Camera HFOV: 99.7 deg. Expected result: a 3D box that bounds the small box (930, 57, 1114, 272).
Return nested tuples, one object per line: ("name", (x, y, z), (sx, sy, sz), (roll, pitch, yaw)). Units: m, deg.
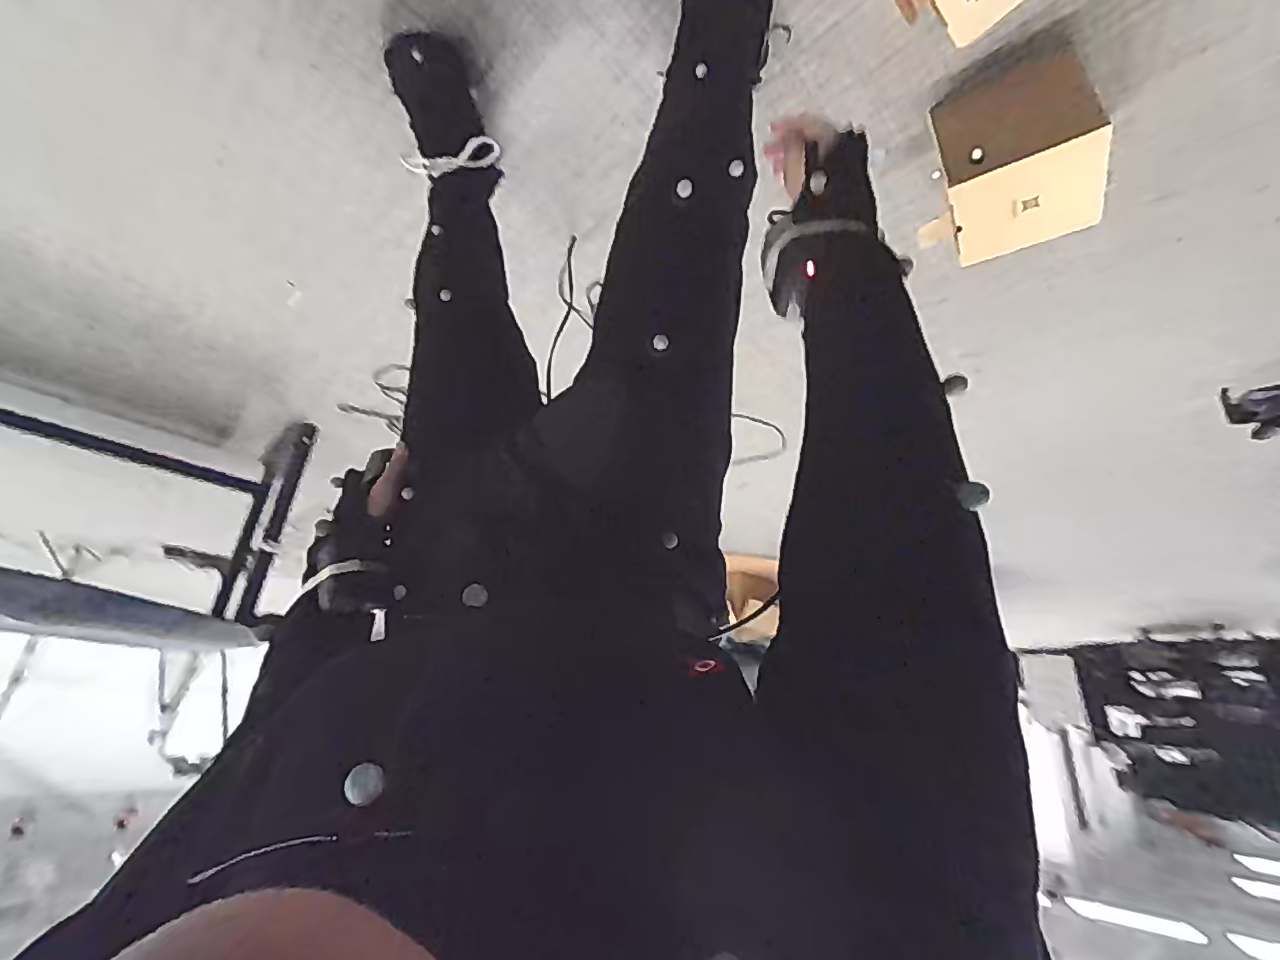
("small box", (0.534, -0.443, 0.773), (0.179, 0.176, 0.168), (-12, 152, 32))
